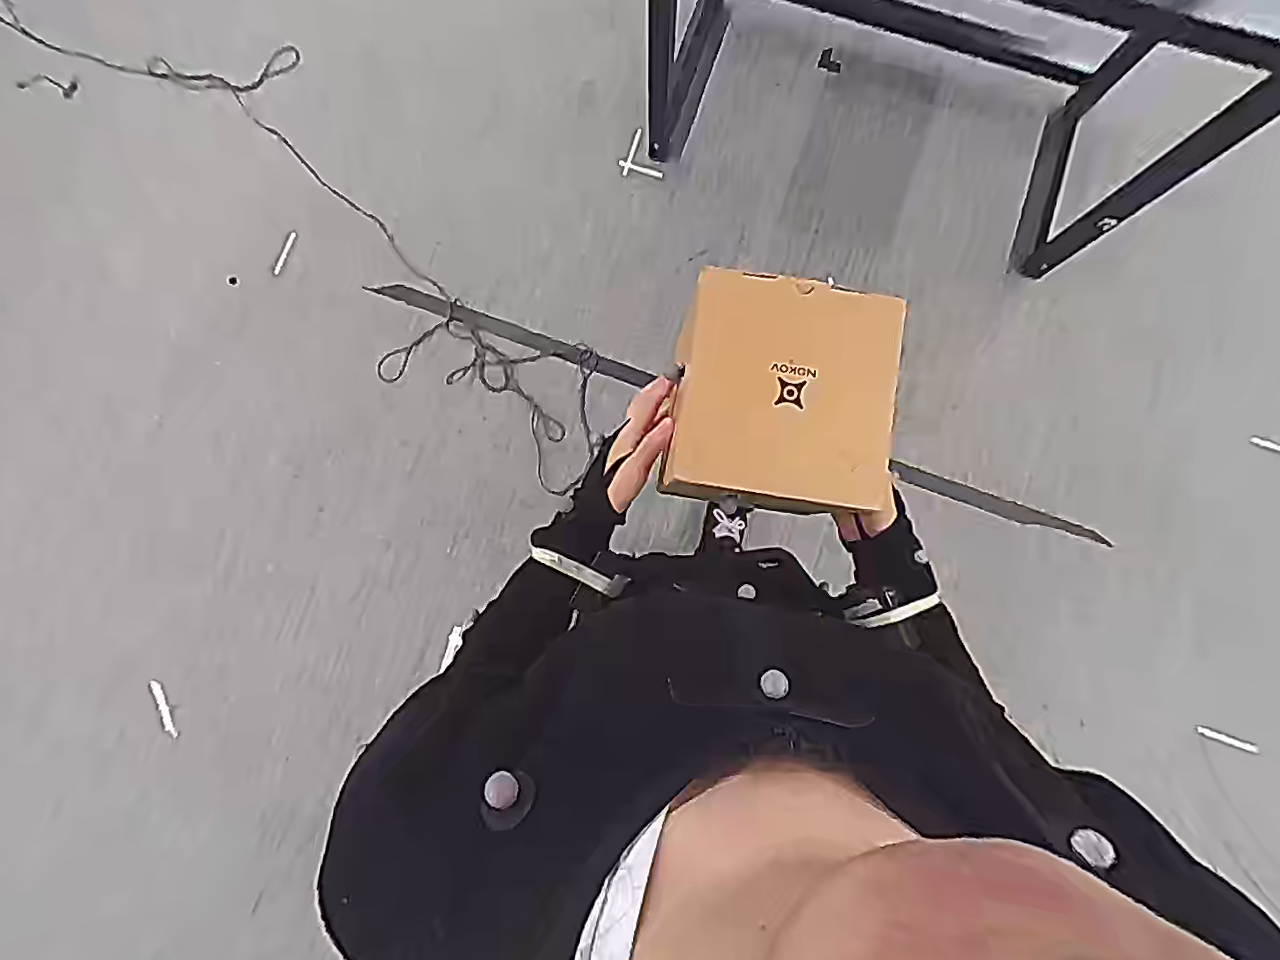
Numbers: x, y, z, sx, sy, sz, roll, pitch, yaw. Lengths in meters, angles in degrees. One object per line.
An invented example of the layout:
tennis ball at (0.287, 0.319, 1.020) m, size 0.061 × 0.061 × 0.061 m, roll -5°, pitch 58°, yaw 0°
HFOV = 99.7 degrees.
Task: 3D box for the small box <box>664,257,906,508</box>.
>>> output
small box at (0.116, -0.072, 0.498) m, size 0.168 × 0.176 × 0.179 m, roll 8°, pitch 84°, yaw -1°
